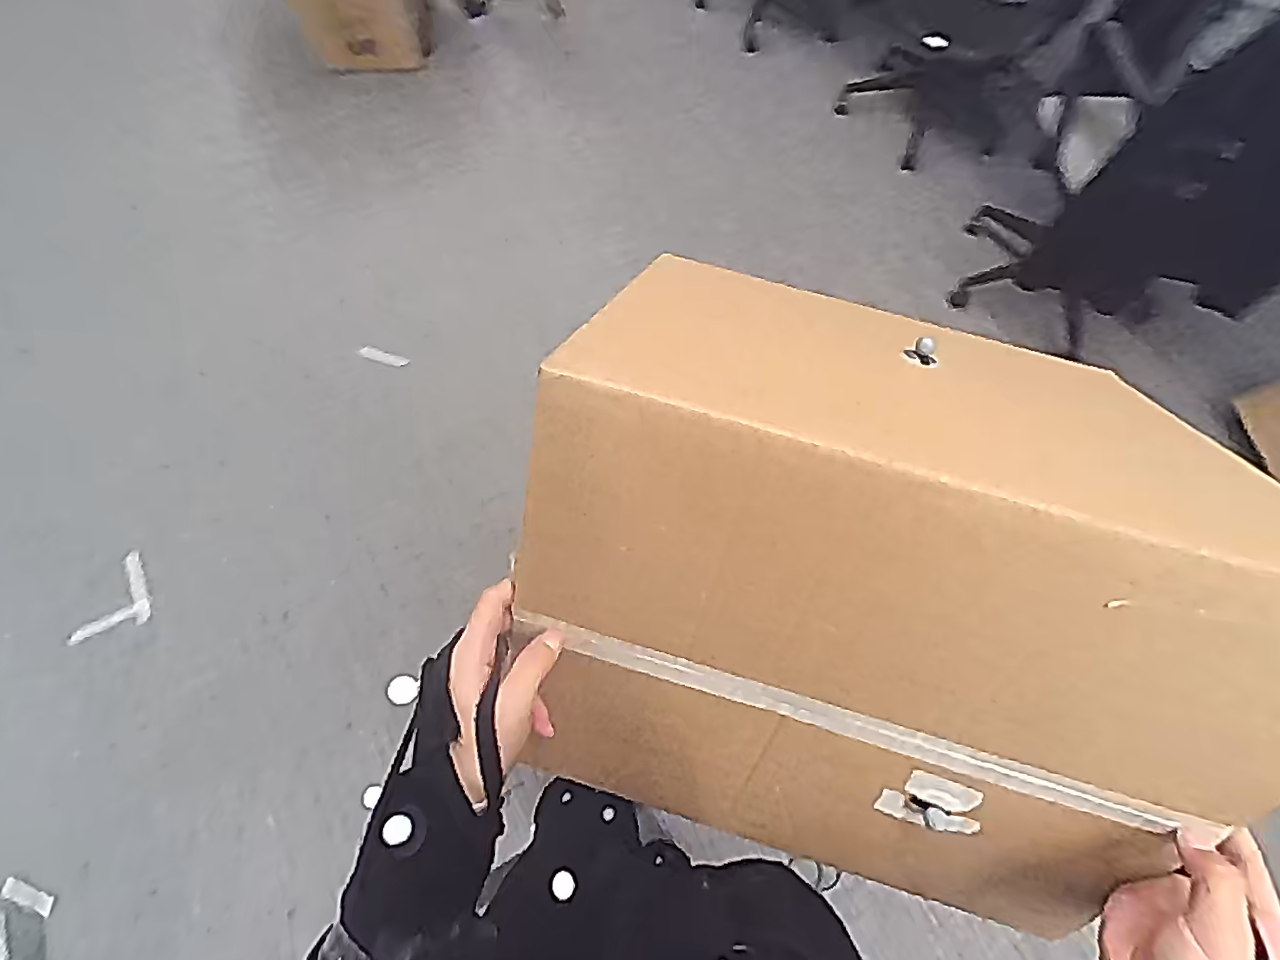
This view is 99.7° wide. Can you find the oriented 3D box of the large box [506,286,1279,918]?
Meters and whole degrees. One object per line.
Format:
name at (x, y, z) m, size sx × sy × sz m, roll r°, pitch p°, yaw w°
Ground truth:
large box at (0.139, 0.062, 0.439) m, size 0.408 × 0.320 × 0.320 m, roll 14°, pitch 34°, yaw 3°
